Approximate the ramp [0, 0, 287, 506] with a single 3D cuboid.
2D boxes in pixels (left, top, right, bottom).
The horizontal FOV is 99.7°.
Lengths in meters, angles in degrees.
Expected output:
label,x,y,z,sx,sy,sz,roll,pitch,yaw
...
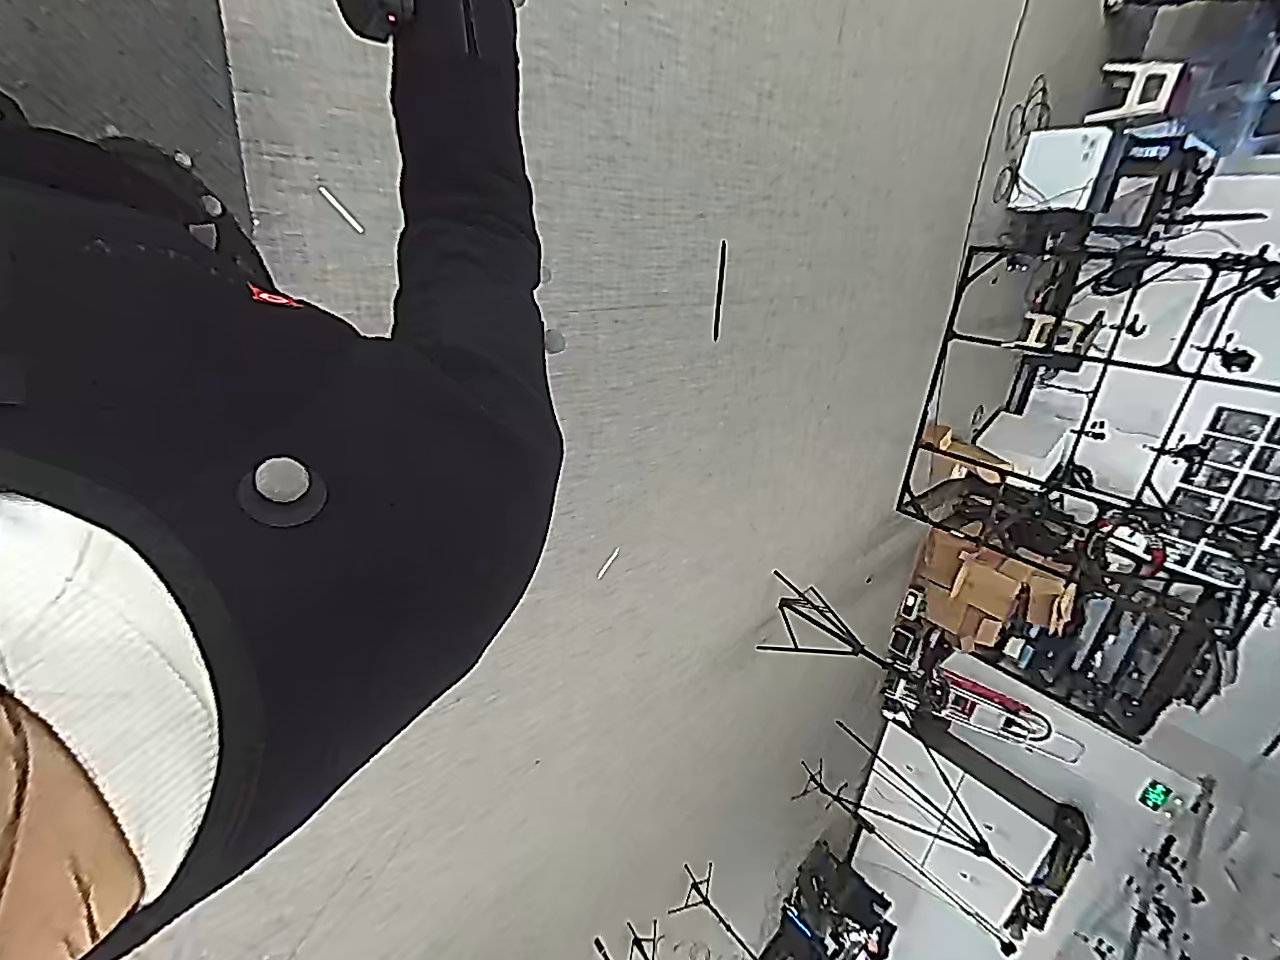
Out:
label,x,y,z,sx,sy,sz,roll,pitch,yaw
ramp,-1.007,-0.410,1.014,0.509,0.206,0.991,-17,122,-38
